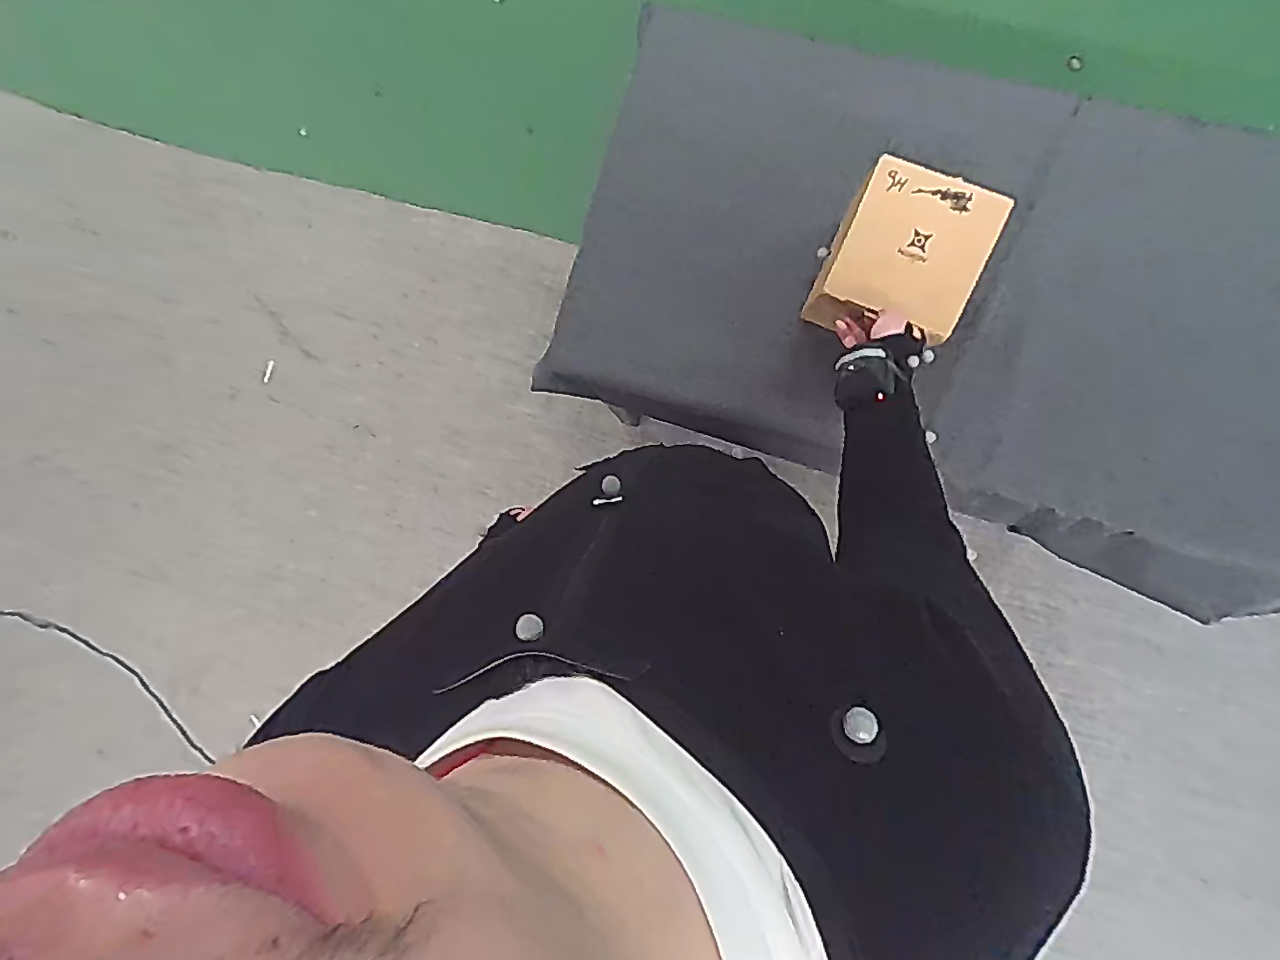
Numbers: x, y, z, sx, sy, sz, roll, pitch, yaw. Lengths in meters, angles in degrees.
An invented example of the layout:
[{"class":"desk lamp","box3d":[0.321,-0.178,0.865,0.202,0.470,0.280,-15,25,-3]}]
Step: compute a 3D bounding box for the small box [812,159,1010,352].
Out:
[{"class":"small box","box3d":[0.346,-0.288,0.734,0.168,0.176,0.179,21,98,7]}]
